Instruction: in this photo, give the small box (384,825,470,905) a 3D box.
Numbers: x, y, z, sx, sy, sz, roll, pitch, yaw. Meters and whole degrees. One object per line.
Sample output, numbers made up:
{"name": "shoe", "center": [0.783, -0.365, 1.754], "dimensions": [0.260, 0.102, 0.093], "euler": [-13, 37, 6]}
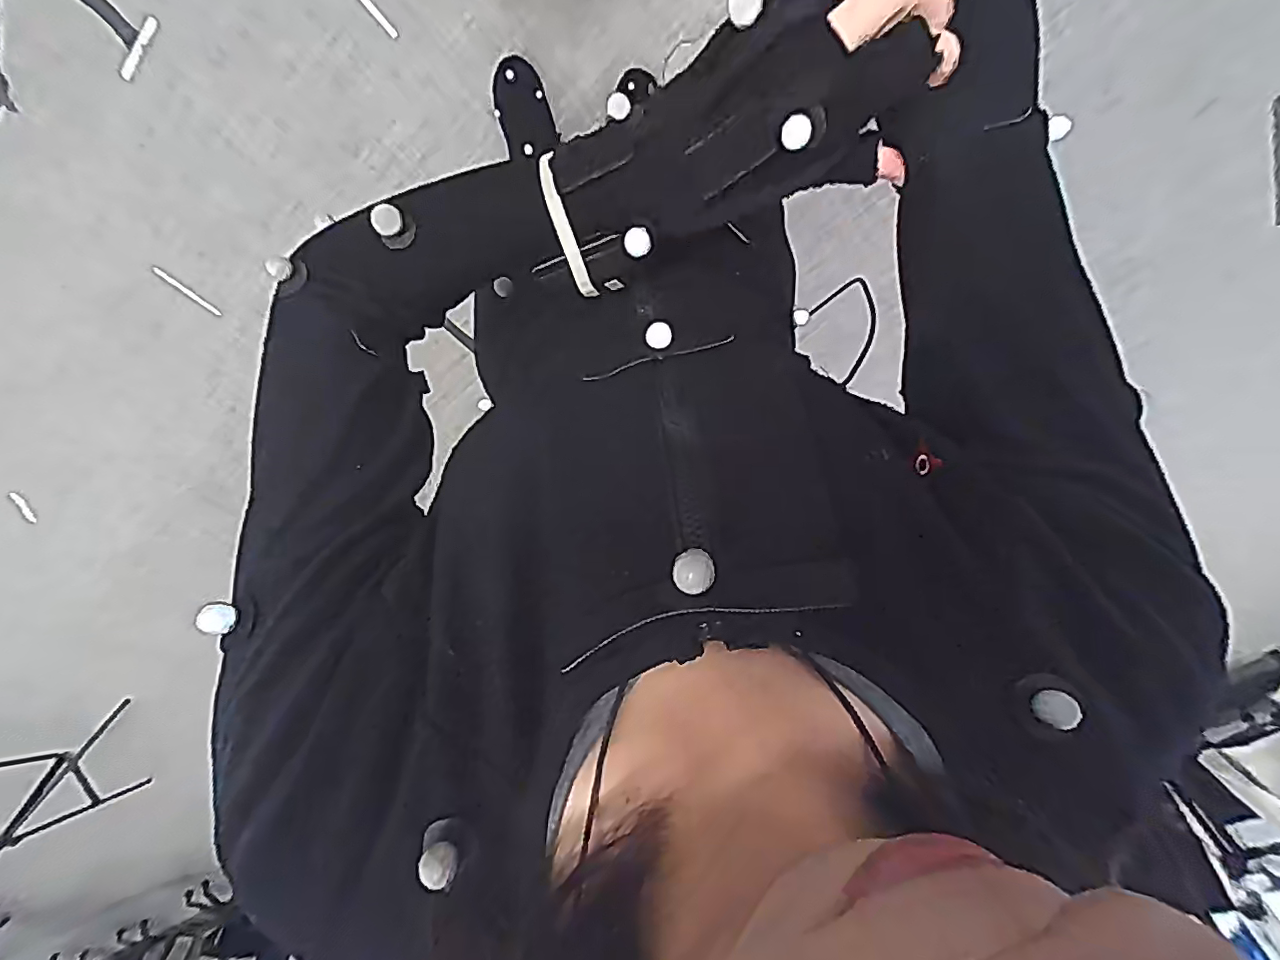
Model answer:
{"name": "small box", "center": [-0.665, 1.212, 1.706], "dimensions": [0.168, 0.176, 0.179], "euler": [-31, 128, 22]}
